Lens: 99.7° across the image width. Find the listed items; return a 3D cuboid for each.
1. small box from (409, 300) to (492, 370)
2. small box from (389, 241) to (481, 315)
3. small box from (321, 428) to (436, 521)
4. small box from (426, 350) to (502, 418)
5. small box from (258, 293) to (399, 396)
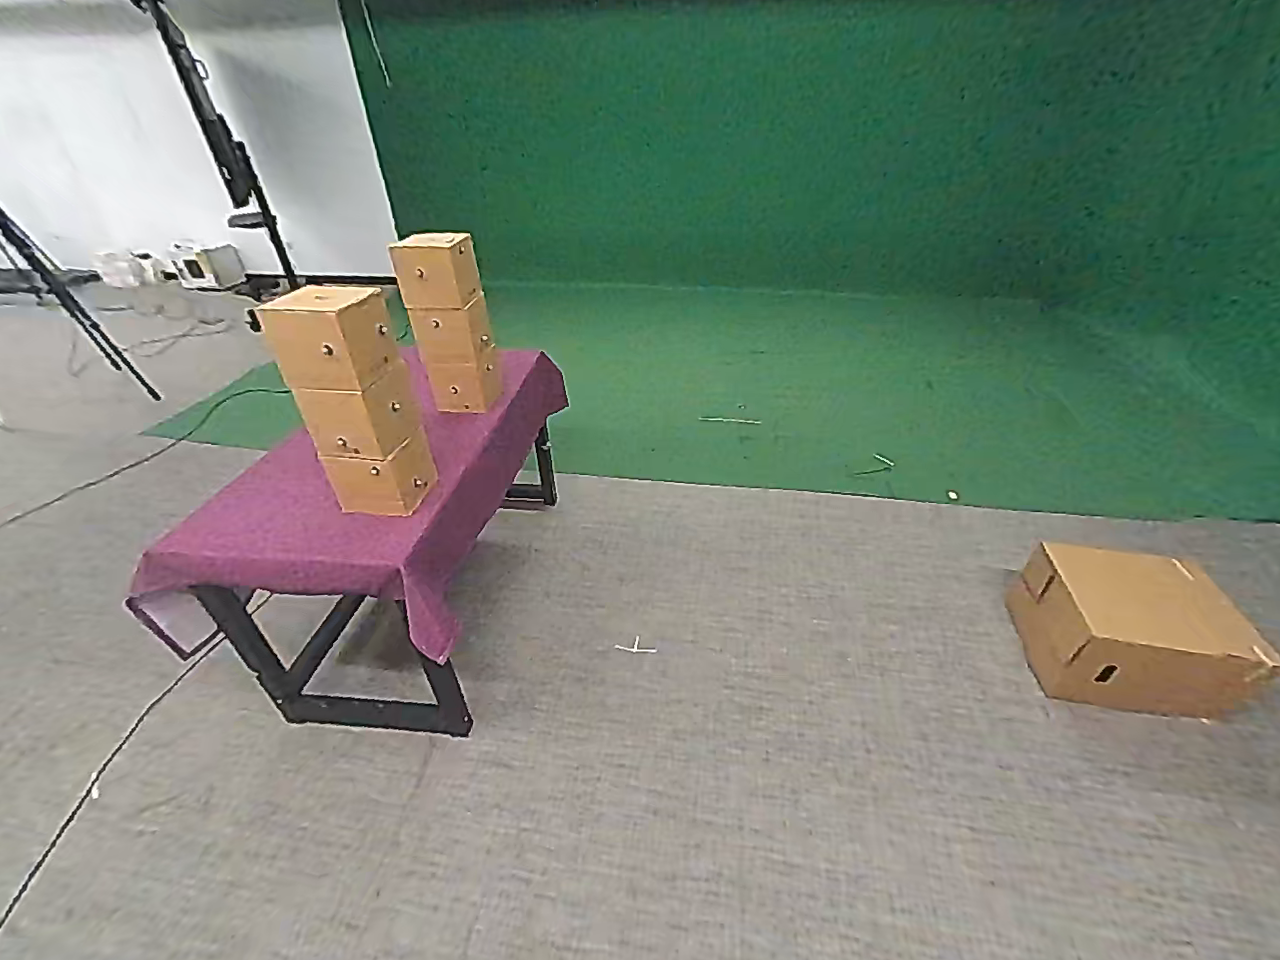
[{"bbox_3d":[-0.574,-0.447,1.660,0.179,0.176,0.168,2,35,5],"label":"small box"},{"bbox_3d":[-0.585,-0.584,1.570,0.179,0.176,0.168,1,36,6],"label":"small box"},{"bbox_3d":[-0.633,-0.015,1.330,0.179,0.176,0.168,4,35,7],"label":"small box"},{"bbox_3d":[-0.561,-0.312,1.753,0.168,0.176,0.179,4,35,7],"label":"small box"},{"bbox_3d":[-0.645,-0.287,1.147,0.179,0.176,0.168,3,34,8],"label":"small box"}]
